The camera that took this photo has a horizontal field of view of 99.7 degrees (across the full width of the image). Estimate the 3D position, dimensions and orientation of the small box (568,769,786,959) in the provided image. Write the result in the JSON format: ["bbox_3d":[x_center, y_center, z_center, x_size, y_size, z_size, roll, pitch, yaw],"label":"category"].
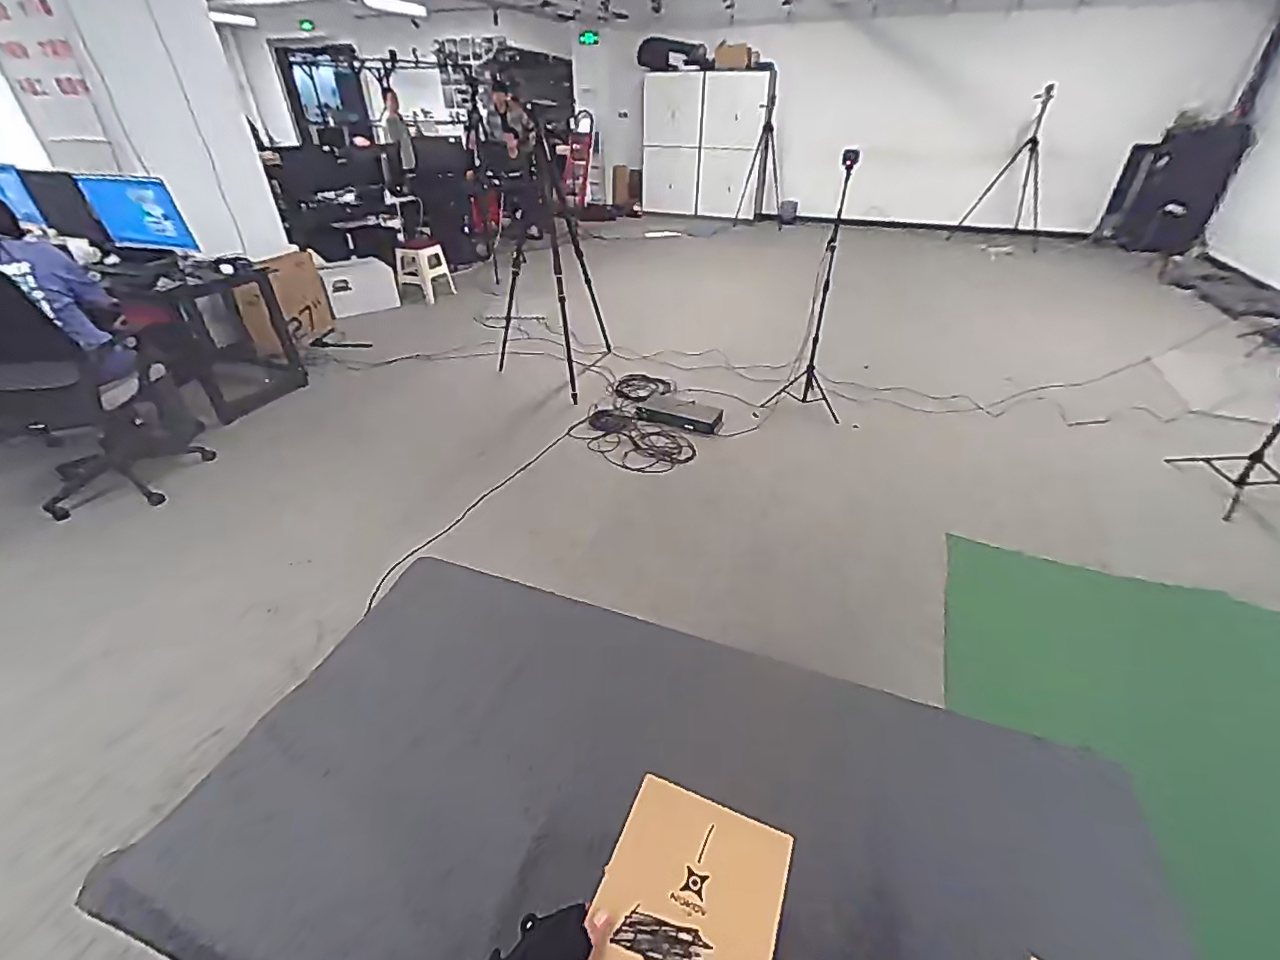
[{"bbox_3d":[0.043,0.454,0.564,0.168,0.176,0.179,14,37,19],"label":"small box"}]
